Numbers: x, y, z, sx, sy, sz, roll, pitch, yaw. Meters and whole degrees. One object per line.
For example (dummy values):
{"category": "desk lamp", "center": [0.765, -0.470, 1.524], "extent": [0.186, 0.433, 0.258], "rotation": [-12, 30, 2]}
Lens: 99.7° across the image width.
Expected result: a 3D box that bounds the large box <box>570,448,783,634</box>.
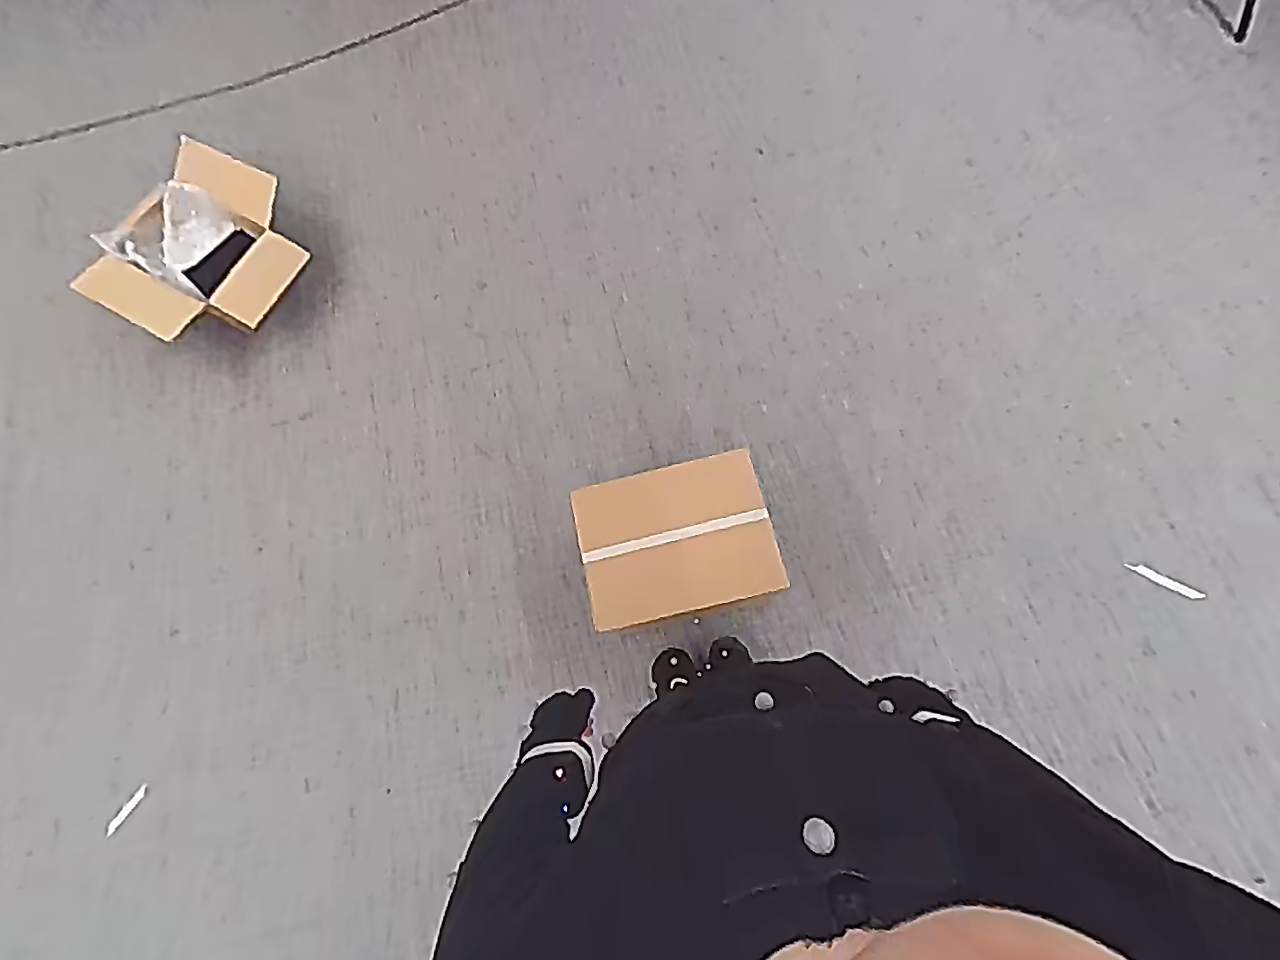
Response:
{"category": "large box", "center": [0.081, 0.163, 1.292], "extent": [0.408, 0.320, 0.320], "rotation": [-14, 72, 1]}
